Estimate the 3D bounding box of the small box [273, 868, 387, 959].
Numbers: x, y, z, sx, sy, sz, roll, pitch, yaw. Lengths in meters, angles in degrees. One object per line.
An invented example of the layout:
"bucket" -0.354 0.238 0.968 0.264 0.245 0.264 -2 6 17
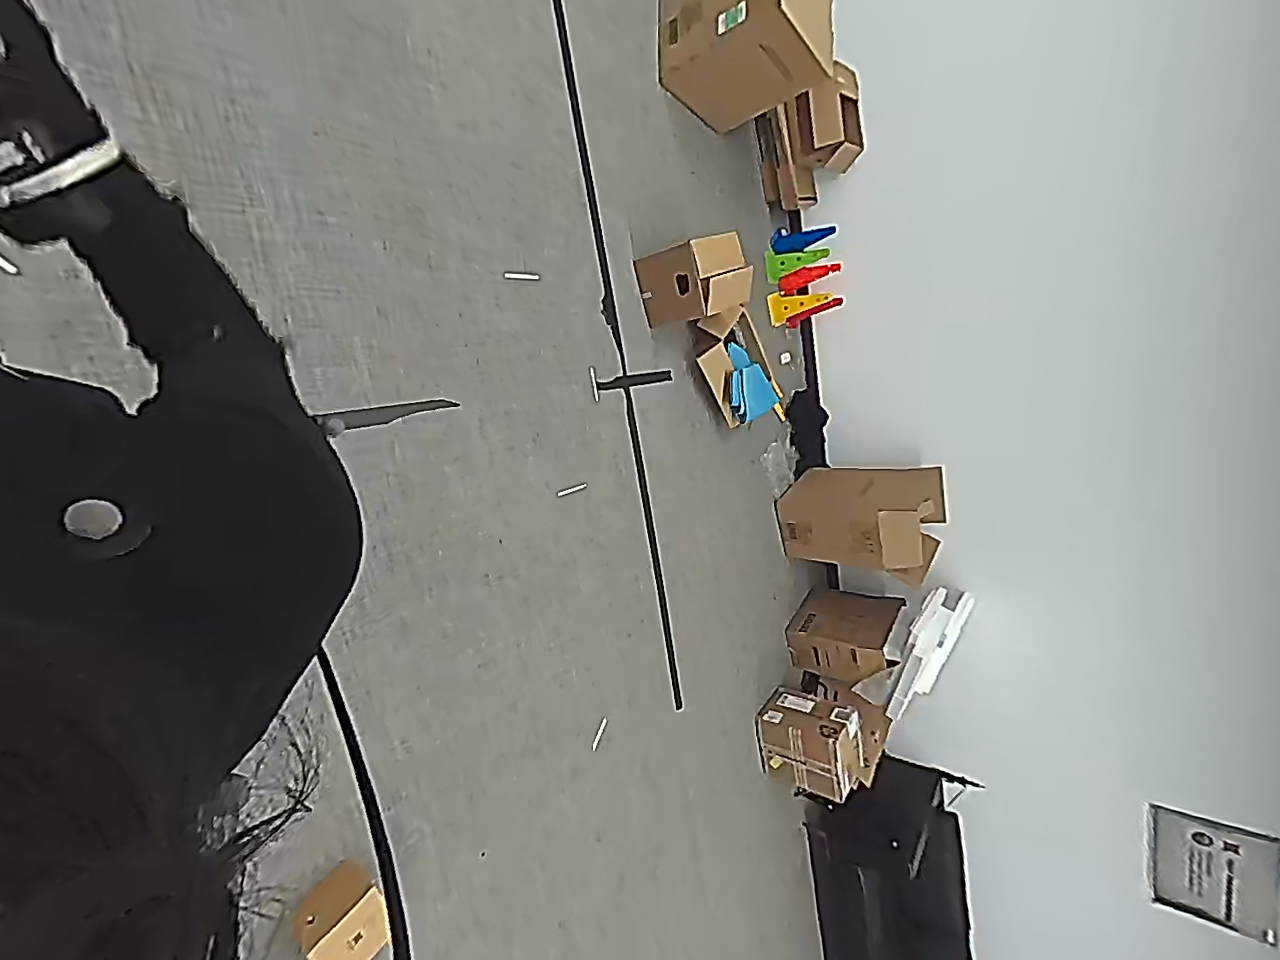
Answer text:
"small box" -0.786 1.139 1.362 0.179 0.176 0.168 -38 119 -45
